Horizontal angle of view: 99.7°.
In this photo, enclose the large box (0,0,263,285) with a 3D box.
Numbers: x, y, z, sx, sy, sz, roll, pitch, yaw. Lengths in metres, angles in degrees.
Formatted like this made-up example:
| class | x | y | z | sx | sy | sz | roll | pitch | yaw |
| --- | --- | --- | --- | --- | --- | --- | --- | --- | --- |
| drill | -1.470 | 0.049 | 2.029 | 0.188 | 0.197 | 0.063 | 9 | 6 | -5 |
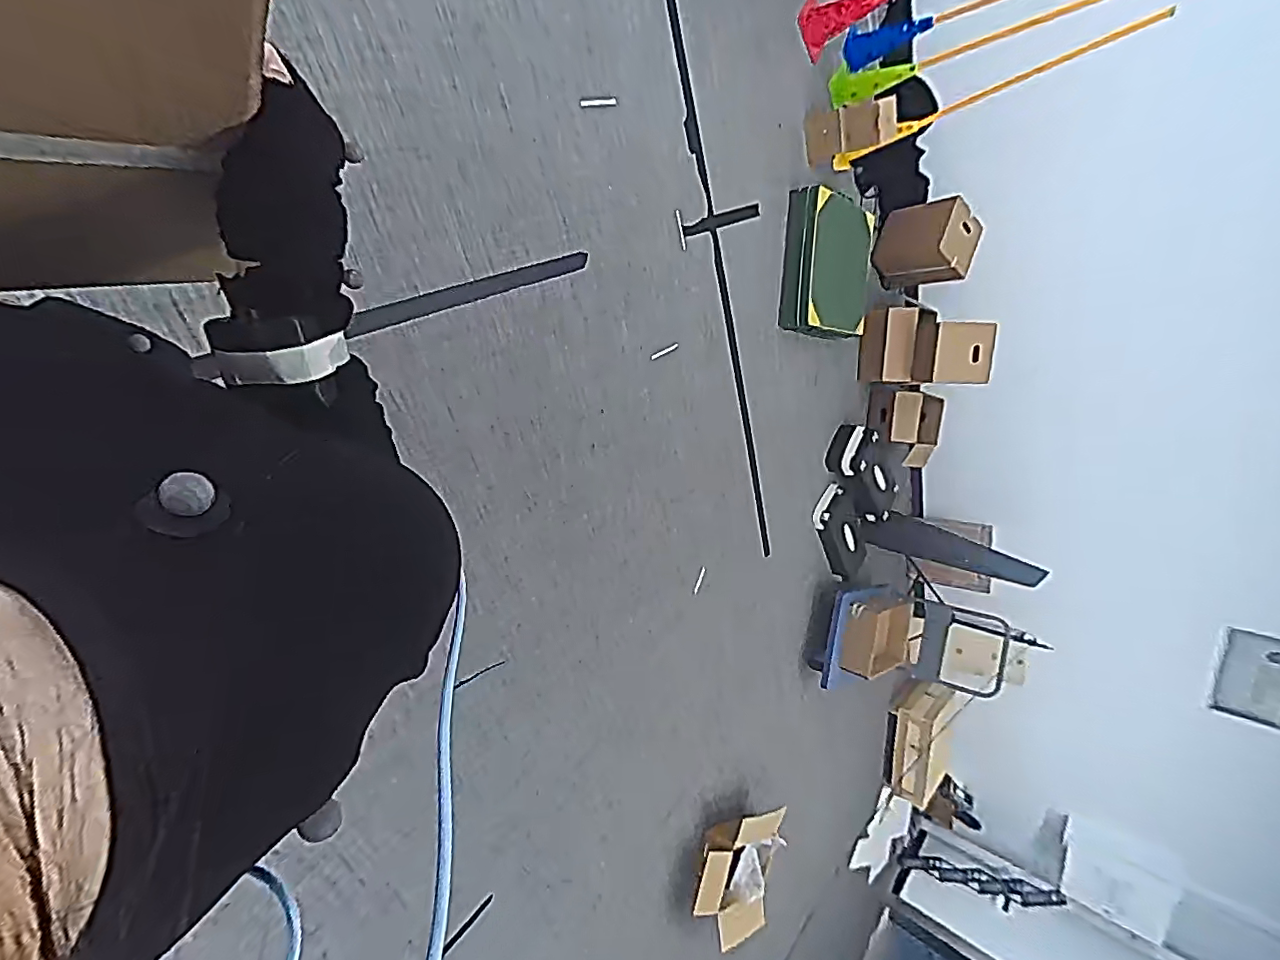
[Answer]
| class | x | y | z | sx | sy | sz | roll | pitch | yaw |
| --- | --- | --- | --- | --- | --- | --- | --- | --- | --- |
| large box | -0.417 | -0.271 | 0.177 | 0.408 | 0.320 | 0.320 | -22 | 96 | -39 |
